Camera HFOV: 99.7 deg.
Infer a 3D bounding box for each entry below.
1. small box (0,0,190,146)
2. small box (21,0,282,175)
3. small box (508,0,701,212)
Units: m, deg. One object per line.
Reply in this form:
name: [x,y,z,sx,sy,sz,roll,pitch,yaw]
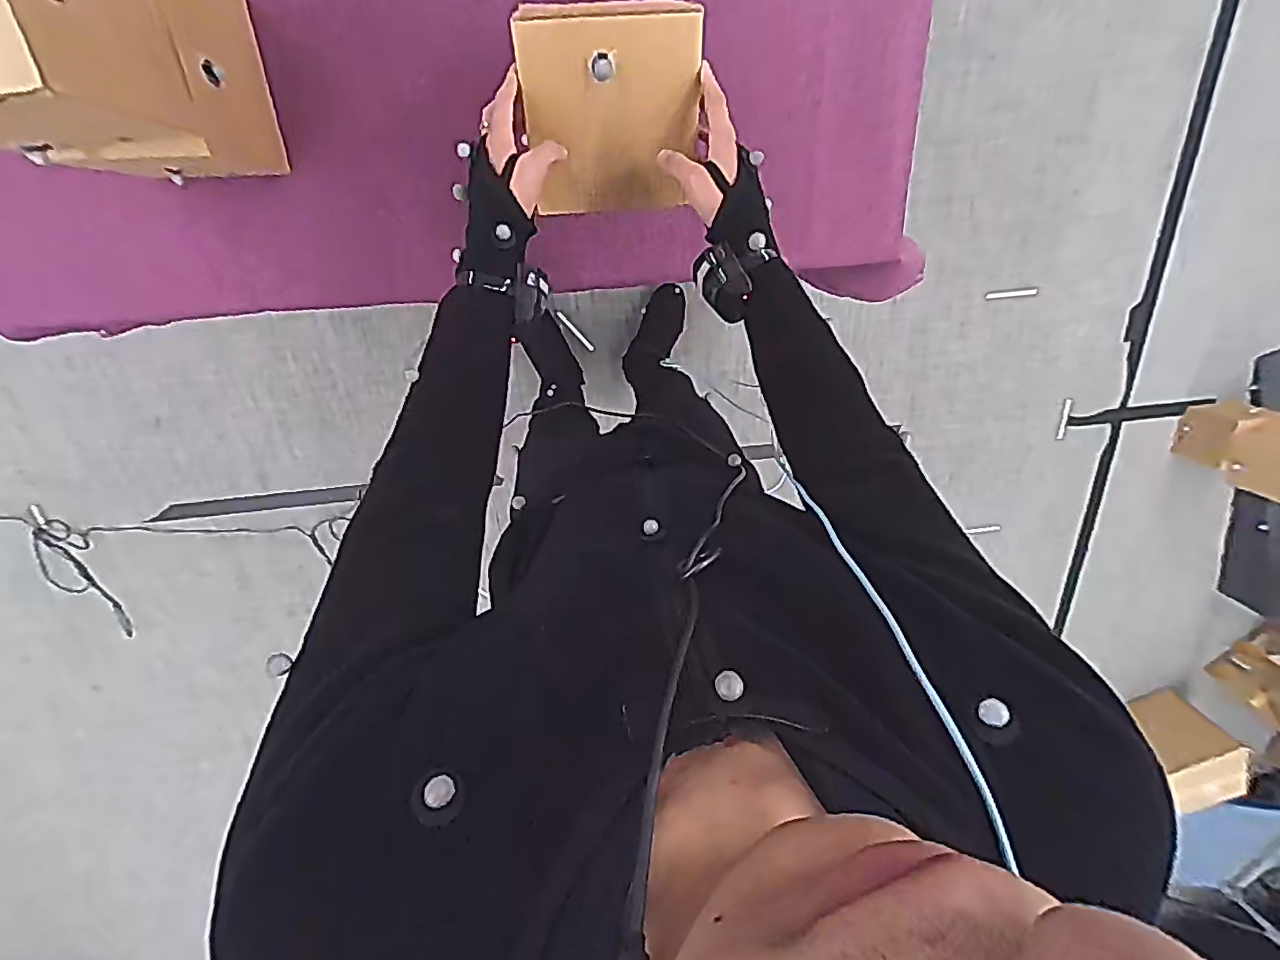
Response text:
small box: [-0.496,-0.362,0.401,0.168,0.176,0.179,-8,114,-4]
small box: [-0.509,-0.418,0.555,0.168,0.176,0.179,-4,114,-6]
small box: [-0.037,-0.410,0.593,0.179,0.168,0.176,-6,132,-4]
